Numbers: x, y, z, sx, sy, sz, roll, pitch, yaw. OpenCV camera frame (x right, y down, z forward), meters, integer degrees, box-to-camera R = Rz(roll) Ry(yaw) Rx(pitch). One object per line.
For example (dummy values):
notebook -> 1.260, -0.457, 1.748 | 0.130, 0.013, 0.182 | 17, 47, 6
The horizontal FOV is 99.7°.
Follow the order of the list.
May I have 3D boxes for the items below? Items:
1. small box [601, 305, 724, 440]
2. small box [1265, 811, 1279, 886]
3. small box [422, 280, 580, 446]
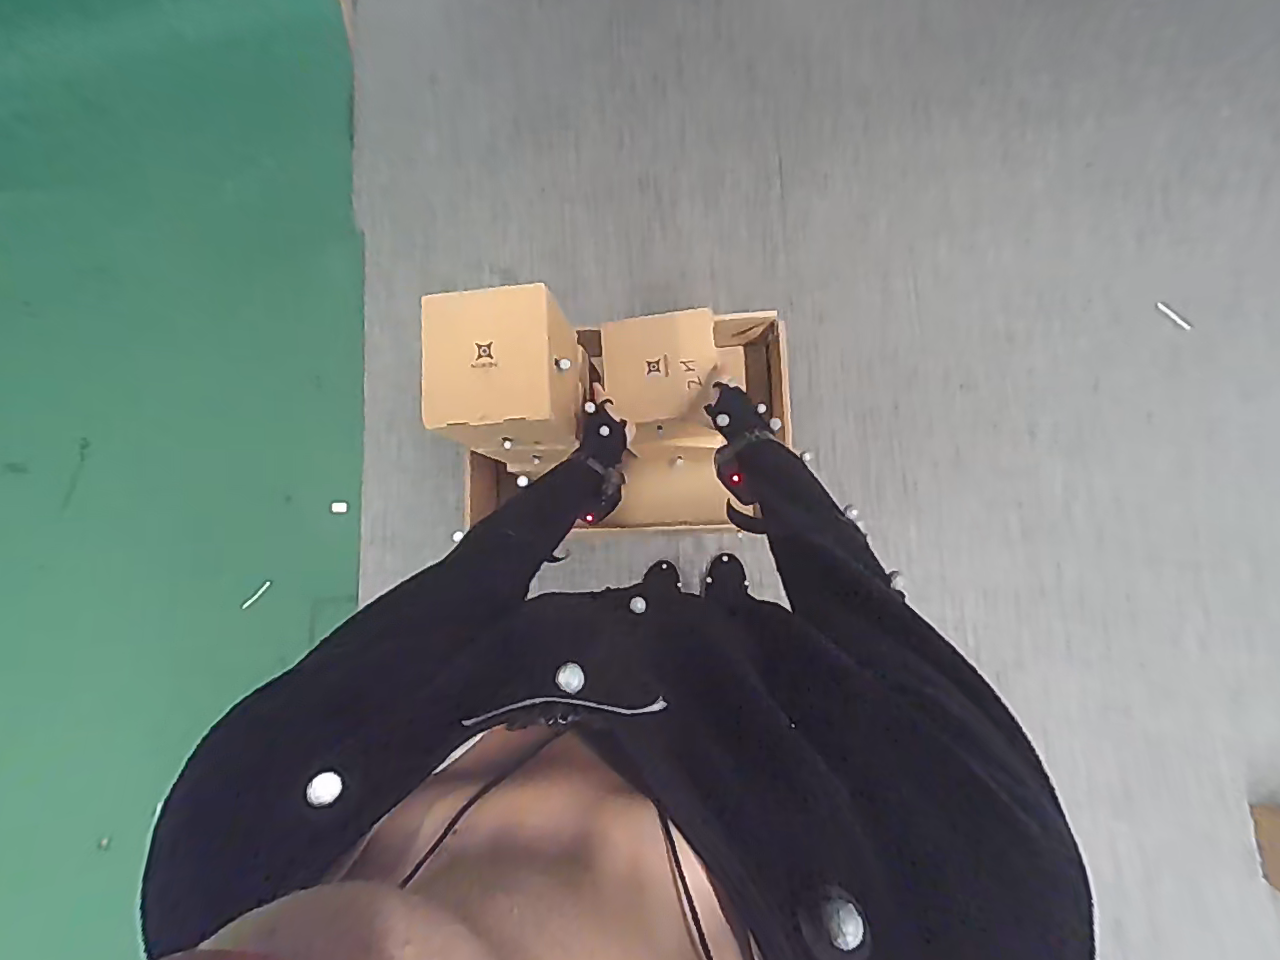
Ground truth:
small box -> 0.043, -0.164, 0.882 | 0.179, 0.176, 0.168 | -5, 83, 8
small box -> 1.515, 0.835, 1.155 | 0.168, 0.176, 0.179 | -5, 83, 8
small box -> -0.183, -0.151, 0.749 | 0.168, 0.176, 0.179 | -4, 84, 6
